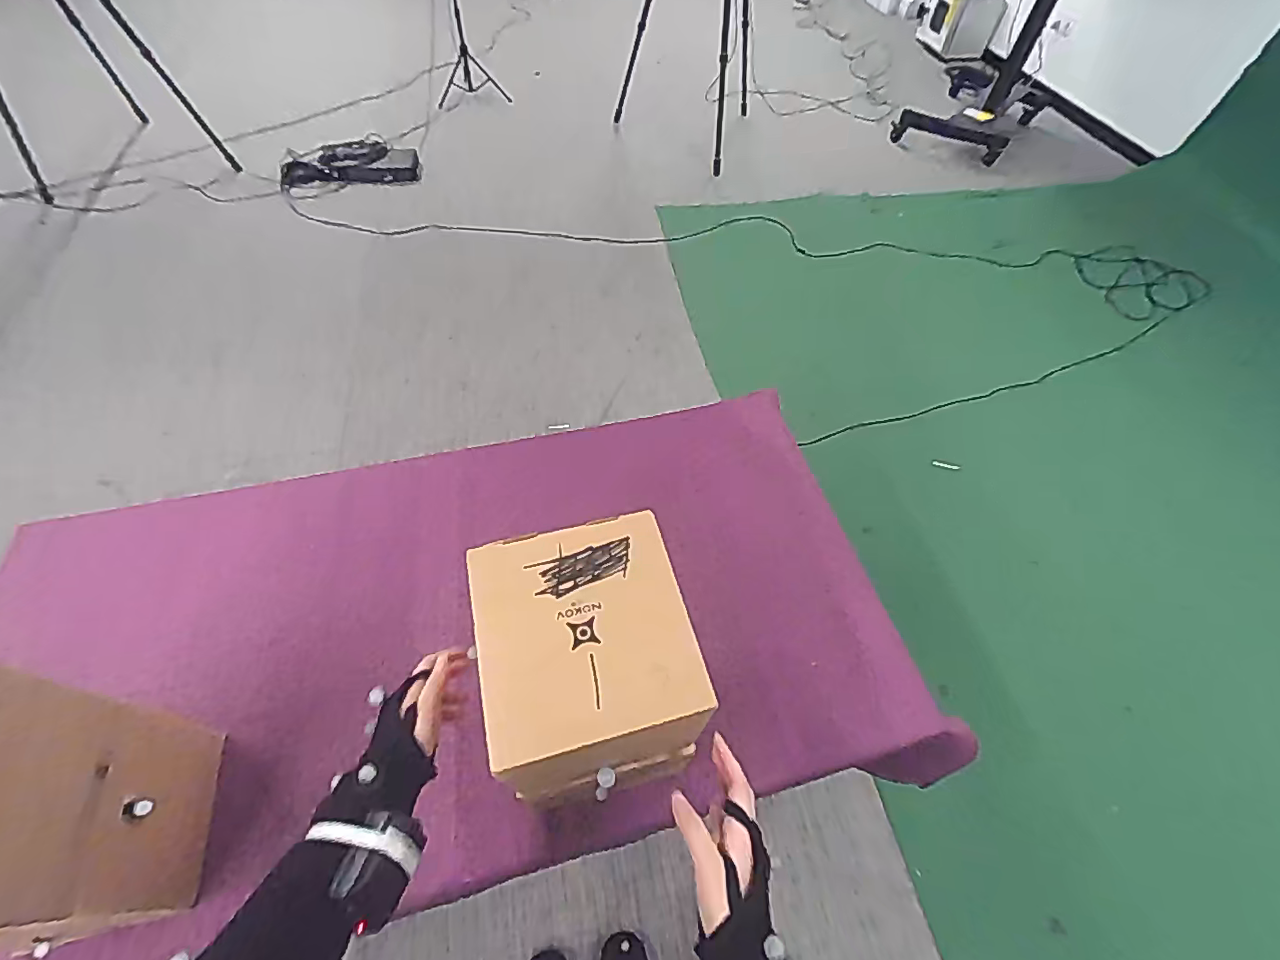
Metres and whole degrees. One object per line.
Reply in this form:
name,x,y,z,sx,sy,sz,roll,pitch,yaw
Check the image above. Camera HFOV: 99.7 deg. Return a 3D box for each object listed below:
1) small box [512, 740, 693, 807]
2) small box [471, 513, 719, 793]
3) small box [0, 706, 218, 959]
small box,-0.052,0.260,0.619,0.179,0.176,0.168,-10,57,-10
small box,-0.047,0.158,0.488,0.168,0.176,0.179,-12,57,-11
small box,-0.558,0.347,0.529,0.168,0.176,0.179,-10,57,-11
